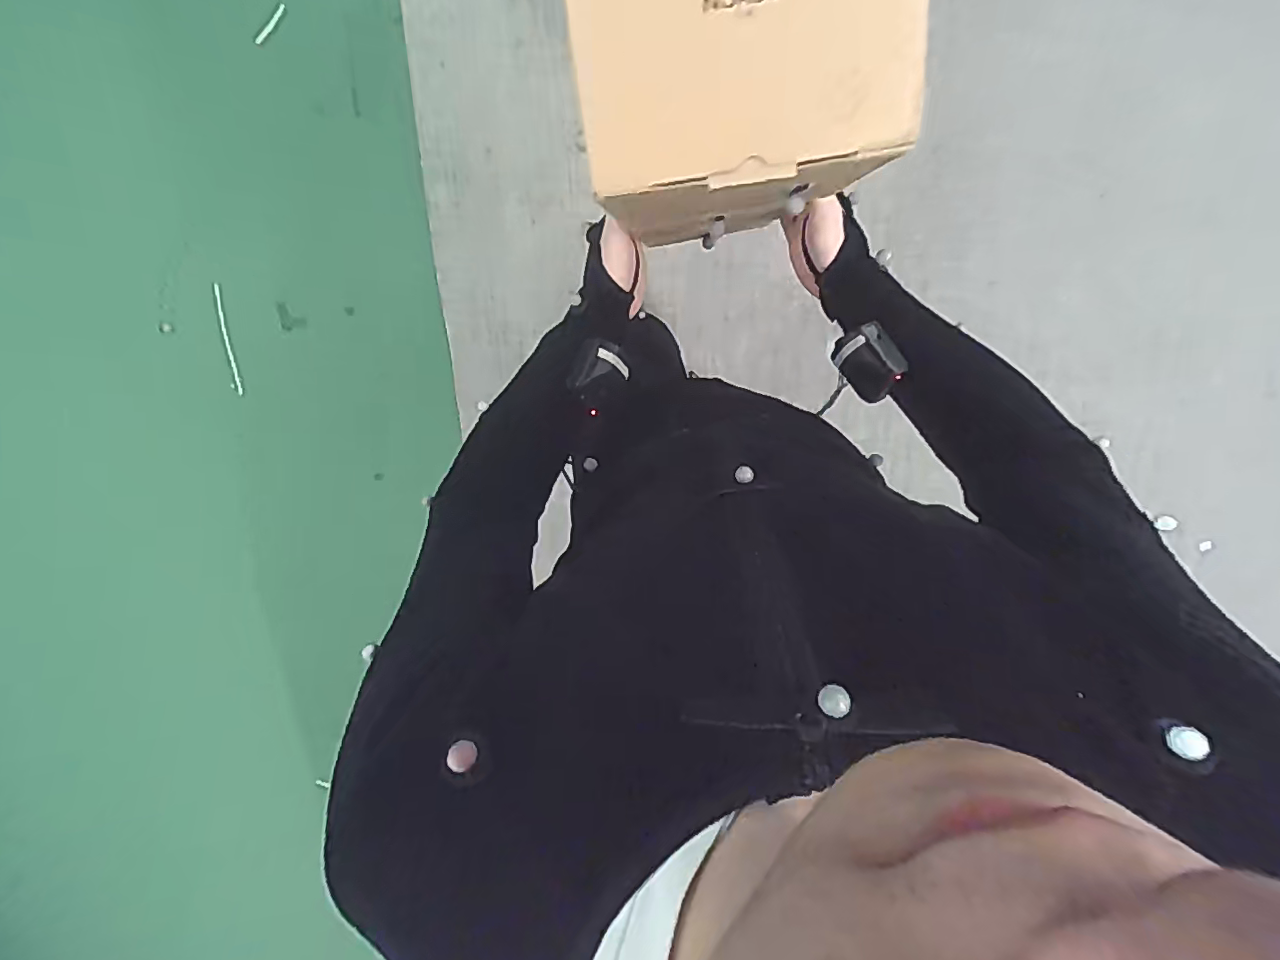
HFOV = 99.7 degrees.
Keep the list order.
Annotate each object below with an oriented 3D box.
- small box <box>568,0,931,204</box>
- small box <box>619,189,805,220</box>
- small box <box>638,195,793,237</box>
[{"bbox_3d":[0.053,-0.267,0.312,0.168,0.176,0.179,-4,110,6],"label":"small box"},{"bbox_3d":[0.060,-0.330,0.464,0.168,0.176,0.179,-6,111,6],"label":"small box"},{"bbox_3d":[0.074,-0.388,0.616,0.168,0.176,0.179,-6,110,8],"label":"small box"}]
